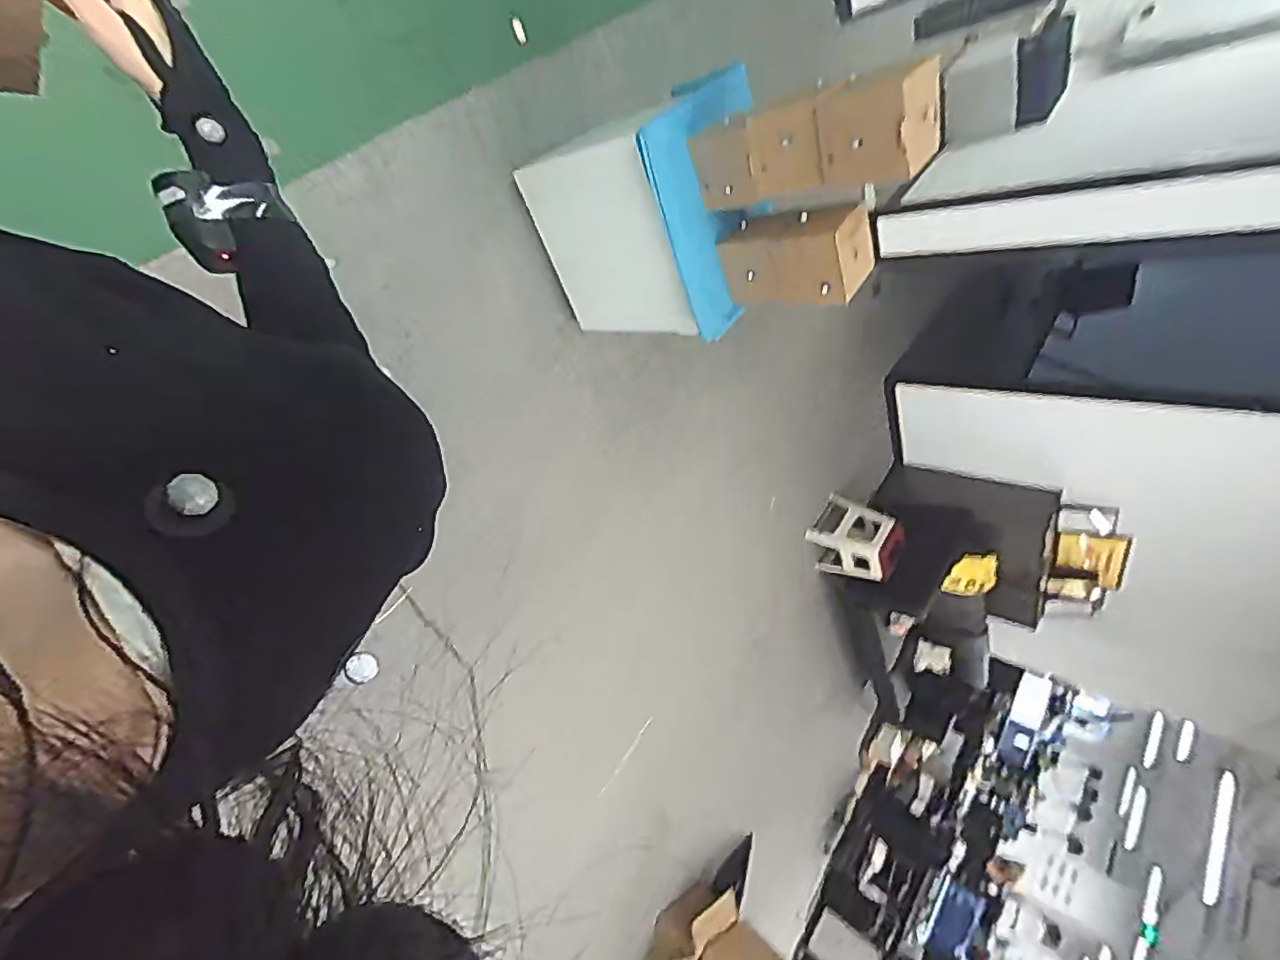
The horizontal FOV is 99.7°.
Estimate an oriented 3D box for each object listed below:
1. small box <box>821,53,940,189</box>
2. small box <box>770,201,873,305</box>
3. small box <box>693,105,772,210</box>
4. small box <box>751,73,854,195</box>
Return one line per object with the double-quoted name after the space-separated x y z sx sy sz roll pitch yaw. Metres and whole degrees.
0.468 -0.694 1.061 0.179 0.176 0.168 -46 132 -28 "small box"
0.442 -0.547 1.316 0.168 0.176 0.179 -50 132 -25 "small box"
0.243 -0.765 1.286 0.179 0.176 0.168 -47 133 -27 "small box"
0.355 -0.740 1.171 0.179 0.176 0.168 -47 132 -28 "small box"
